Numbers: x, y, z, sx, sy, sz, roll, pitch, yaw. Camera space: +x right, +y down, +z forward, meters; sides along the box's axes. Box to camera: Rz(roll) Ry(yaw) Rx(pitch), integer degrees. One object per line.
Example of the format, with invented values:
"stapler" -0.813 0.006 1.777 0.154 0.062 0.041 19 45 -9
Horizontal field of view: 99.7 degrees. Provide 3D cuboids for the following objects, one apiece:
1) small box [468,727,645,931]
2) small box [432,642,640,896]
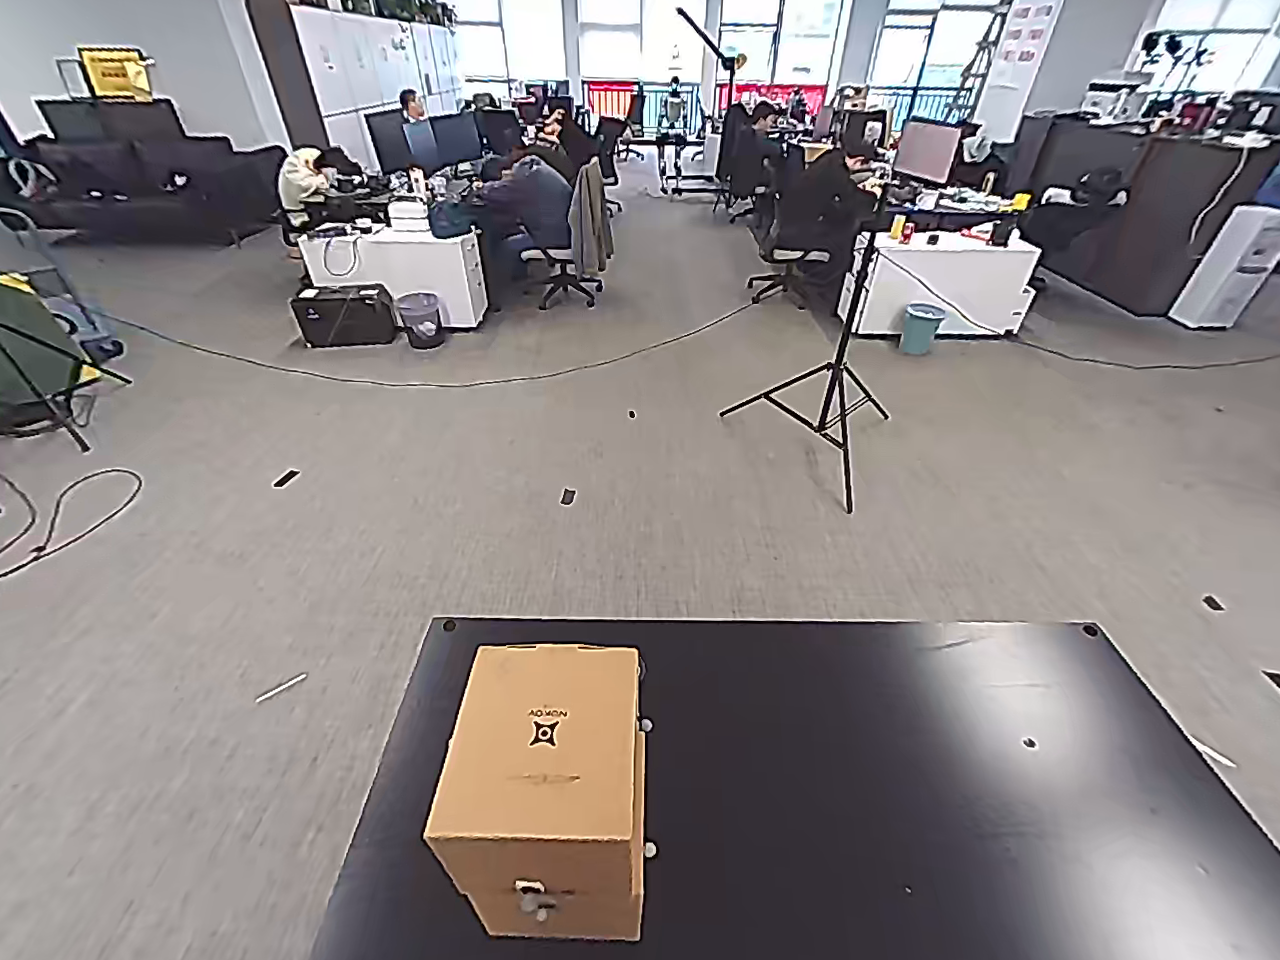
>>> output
"small box" -0.084 0.412 0.644 0.179 0.176 0.168 2 38 0
"small box" -0.084 0.285 0.543 0.168 0.176 0.179 0 39 1
